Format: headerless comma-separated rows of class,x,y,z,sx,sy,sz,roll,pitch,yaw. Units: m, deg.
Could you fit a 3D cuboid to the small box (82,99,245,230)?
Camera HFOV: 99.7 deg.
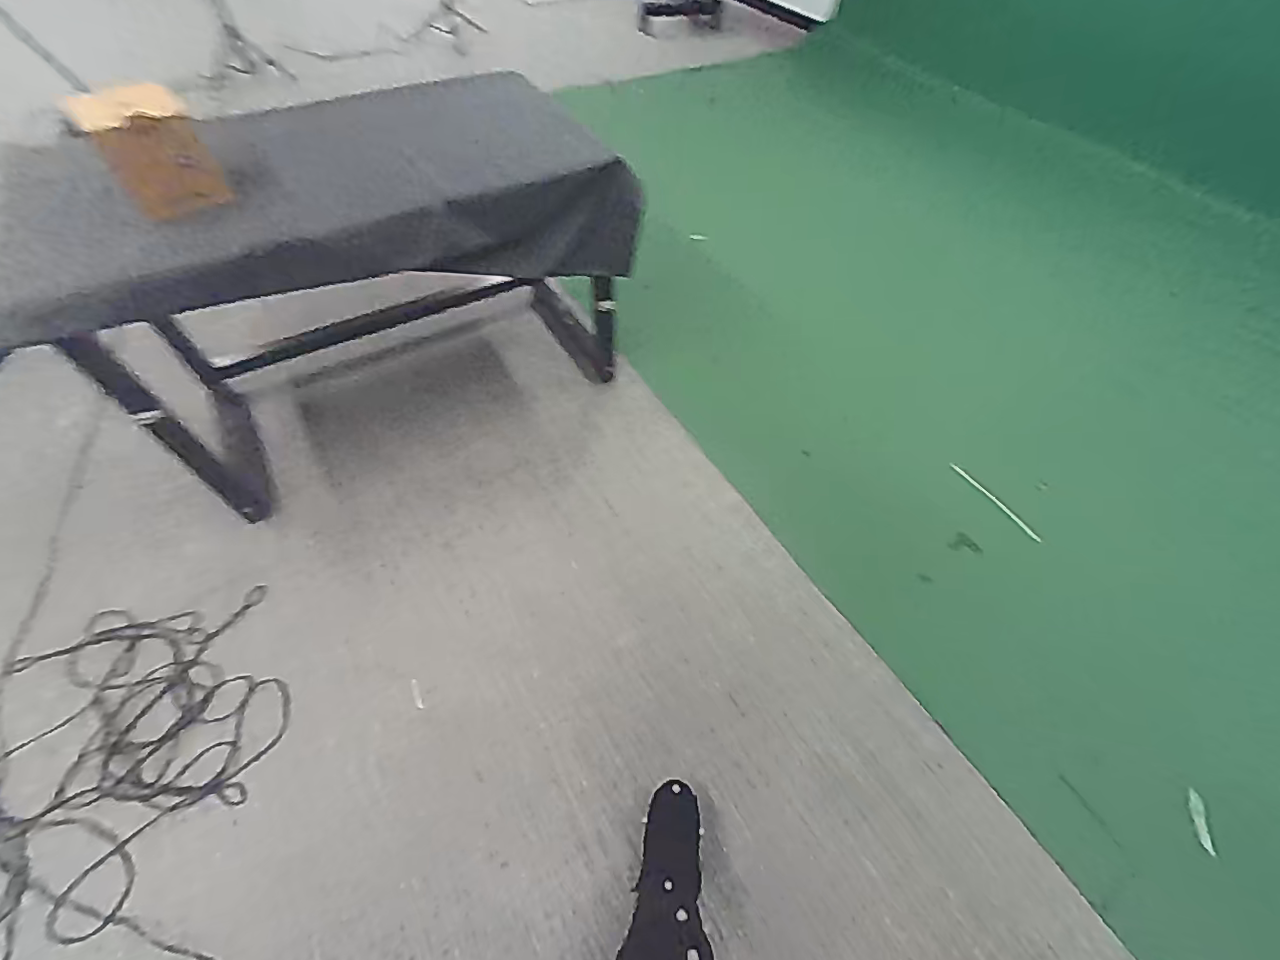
small box,-0.941,-0.625,1.082,0.168,0.176,0.179,-35,61,-26
